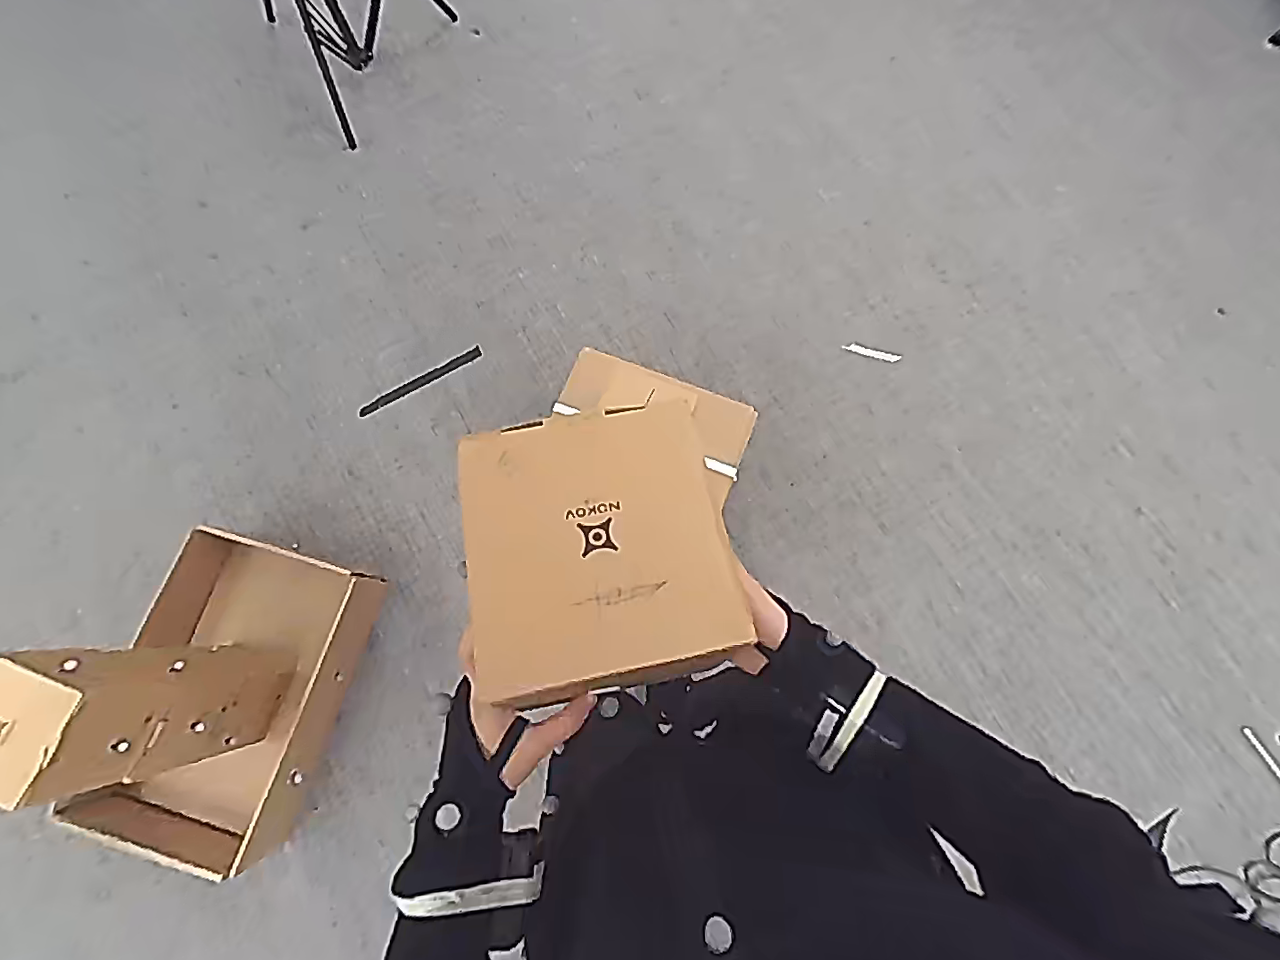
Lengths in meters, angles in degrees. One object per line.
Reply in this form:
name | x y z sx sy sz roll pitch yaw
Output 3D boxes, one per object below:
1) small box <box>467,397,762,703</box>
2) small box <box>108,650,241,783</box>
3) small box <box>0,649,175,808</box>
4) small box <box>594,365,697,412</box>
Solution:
small box | -0.027 0.063 0.420 0.168 0.176 0.179 -11 67 -7
small box | -0.904 0.425 1.005 0.179 0.176 0.168 20 76 4
small box | -0.908 0.375 0.850 0.179 0.176 0.168 19 76 5
small box | -0.002 -0.086 1.041 0.168 0.176 0.179 21 76 4
